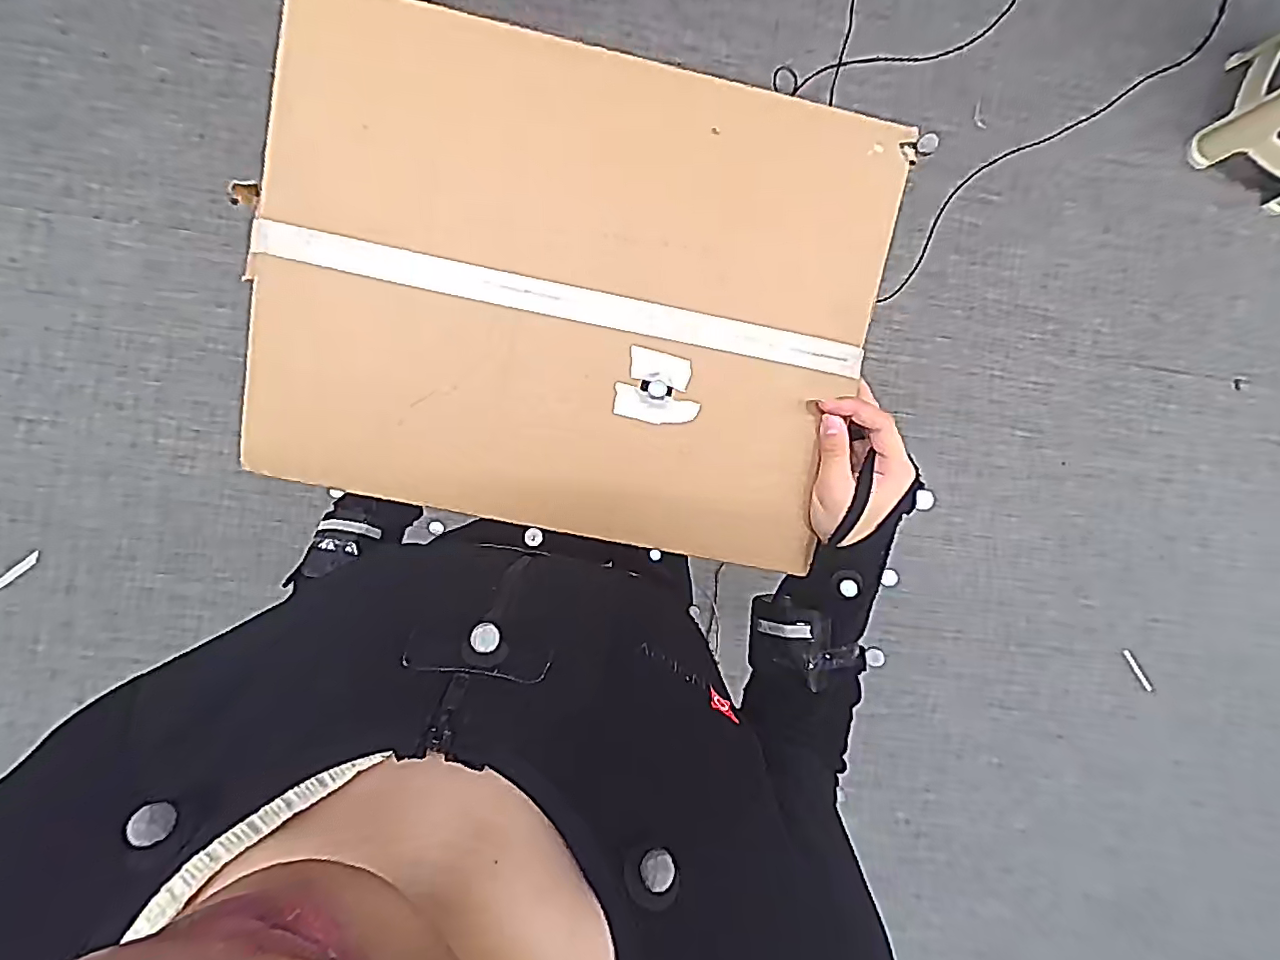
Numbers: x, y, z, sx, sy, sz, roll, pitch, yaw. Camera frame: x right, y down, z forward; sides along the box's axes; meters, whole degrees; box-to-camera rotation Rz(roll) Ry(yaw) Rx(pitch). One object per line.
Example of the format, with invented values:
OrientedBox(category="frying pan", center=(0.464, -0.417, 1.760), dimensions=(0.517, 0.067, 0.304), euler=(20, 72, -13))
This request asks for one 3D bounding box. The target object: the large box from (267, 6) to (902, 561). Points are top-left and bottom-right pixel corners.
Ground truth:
OrientedBox(category="large box", center=(-0.050, -0.138, 0.519), dimensions=(0.408, 0.320, 0.320), euler=(10, 98, -5))
